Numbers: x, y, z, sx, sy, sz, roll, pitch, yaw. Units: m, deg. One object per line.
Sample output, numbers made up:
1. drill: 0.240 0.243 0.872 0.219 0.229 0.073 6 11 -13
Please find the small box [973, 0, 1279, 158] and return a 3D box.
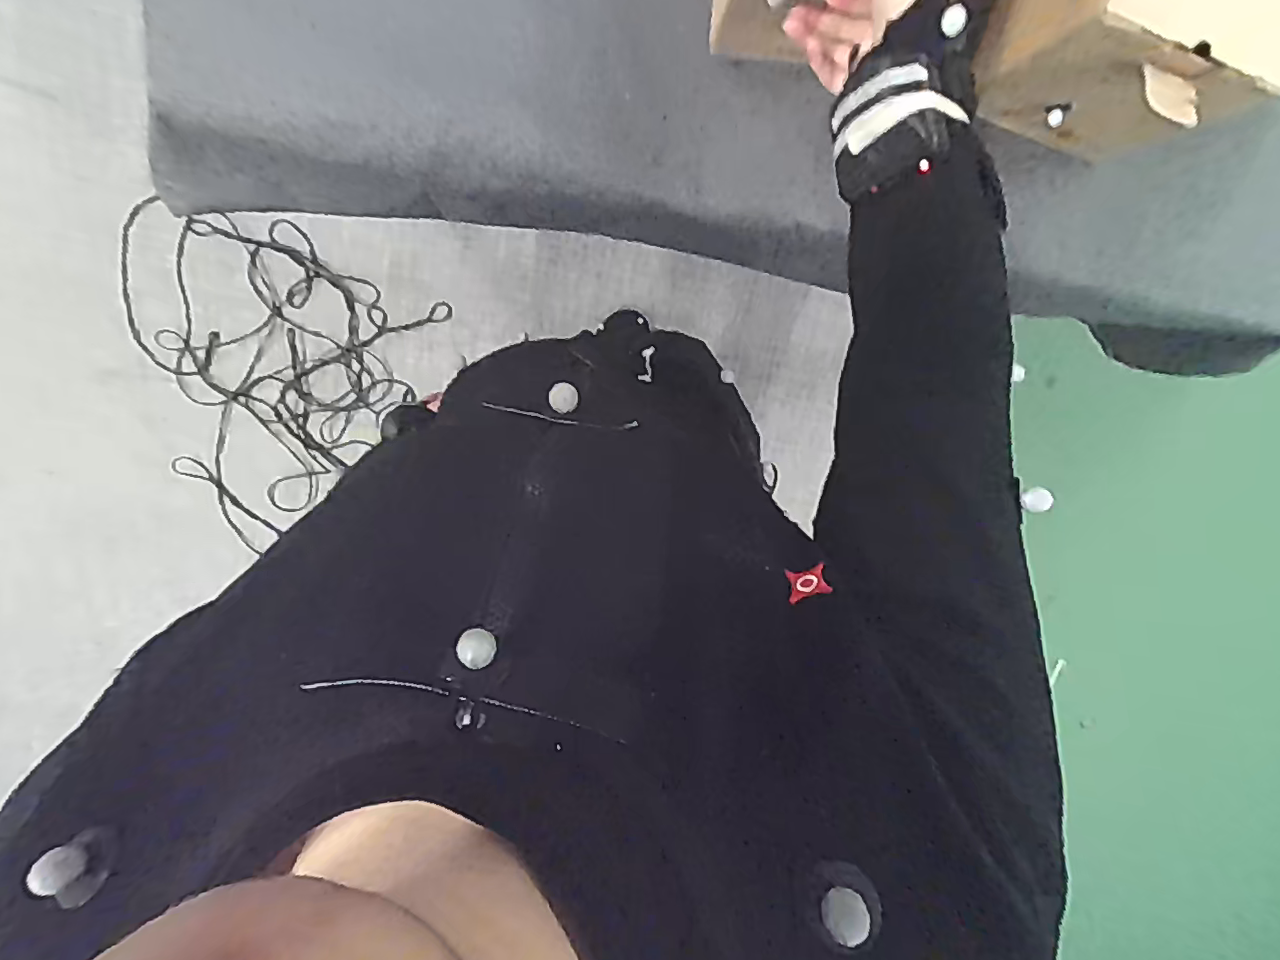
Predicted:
1. small box: 0.417 -0.398 0.436 0.168 0.176 0.179 15 105 -8
